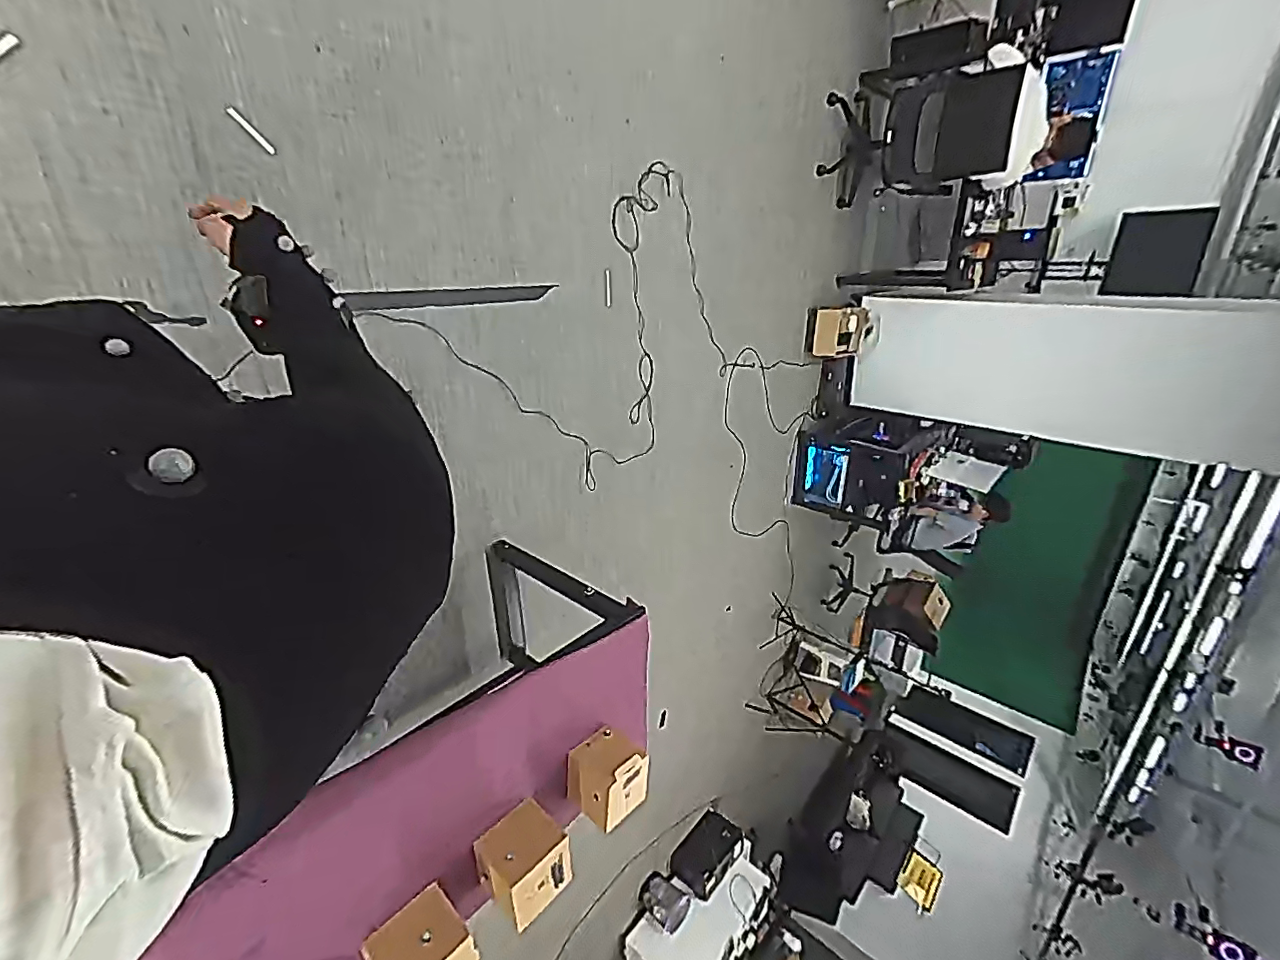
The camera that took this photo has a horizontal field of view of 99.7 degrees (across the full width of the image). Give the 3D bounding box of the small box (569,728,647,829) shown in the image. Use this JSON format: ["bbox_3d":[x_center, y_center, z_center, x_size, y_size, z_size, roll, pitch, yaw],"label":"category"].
[{"bbox_3d":[-0.097,0.864,1.592,0.168,0.176,0.179,-16,116,-46],"label":"small box"}]
